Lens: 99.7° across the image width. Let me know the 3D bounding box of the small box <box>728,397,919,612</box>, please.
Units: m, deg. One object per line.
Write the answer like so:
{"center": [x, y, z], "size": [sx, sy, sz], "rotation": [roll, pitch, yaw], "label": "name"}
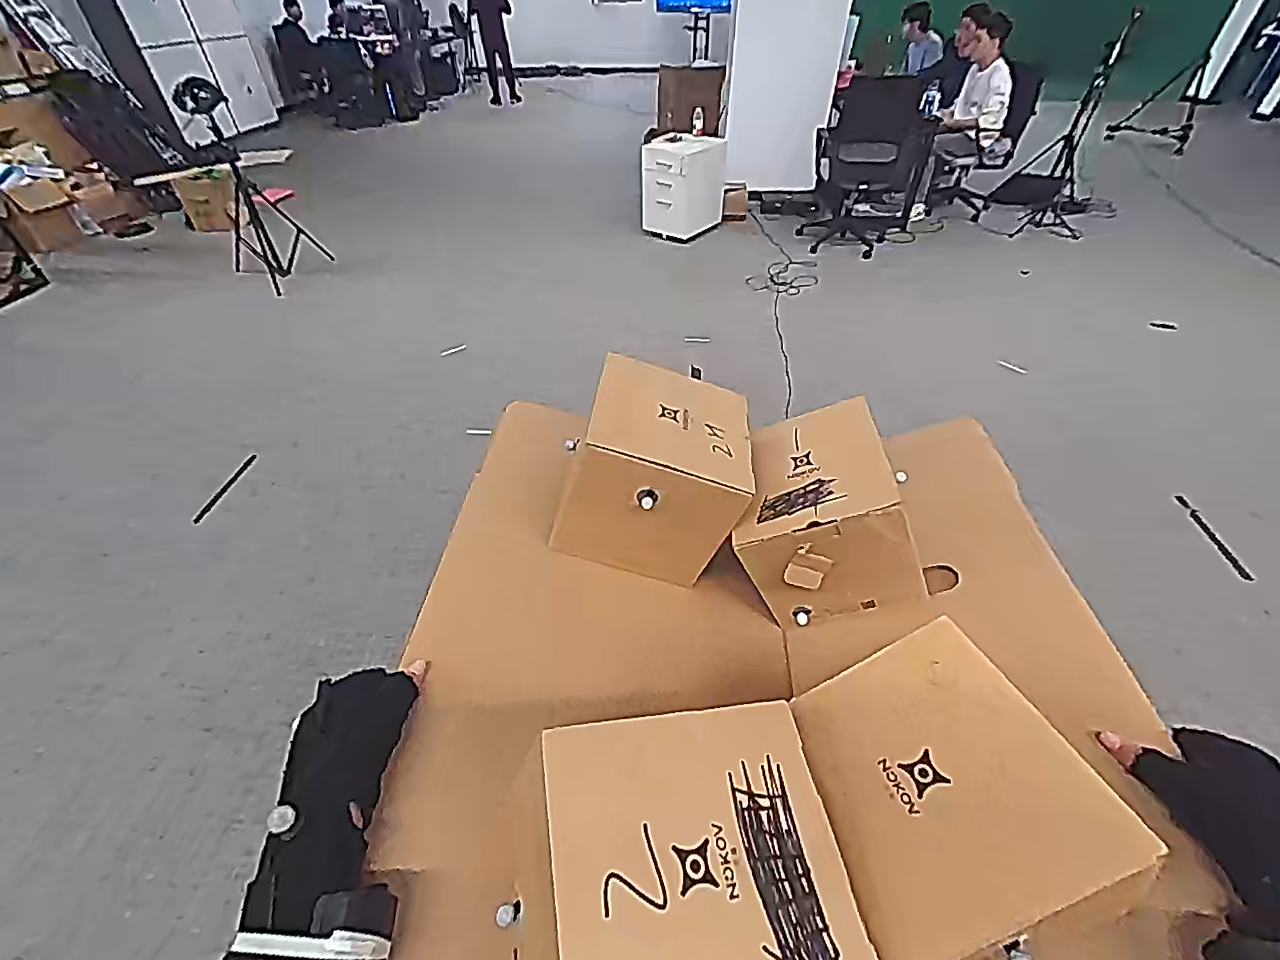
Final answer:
{"center": [0.212, 0.039, 0.640], "size": [0.168, 0.176, 0.179], "rotation": [-17, 38, 23], "label": "small box"}
